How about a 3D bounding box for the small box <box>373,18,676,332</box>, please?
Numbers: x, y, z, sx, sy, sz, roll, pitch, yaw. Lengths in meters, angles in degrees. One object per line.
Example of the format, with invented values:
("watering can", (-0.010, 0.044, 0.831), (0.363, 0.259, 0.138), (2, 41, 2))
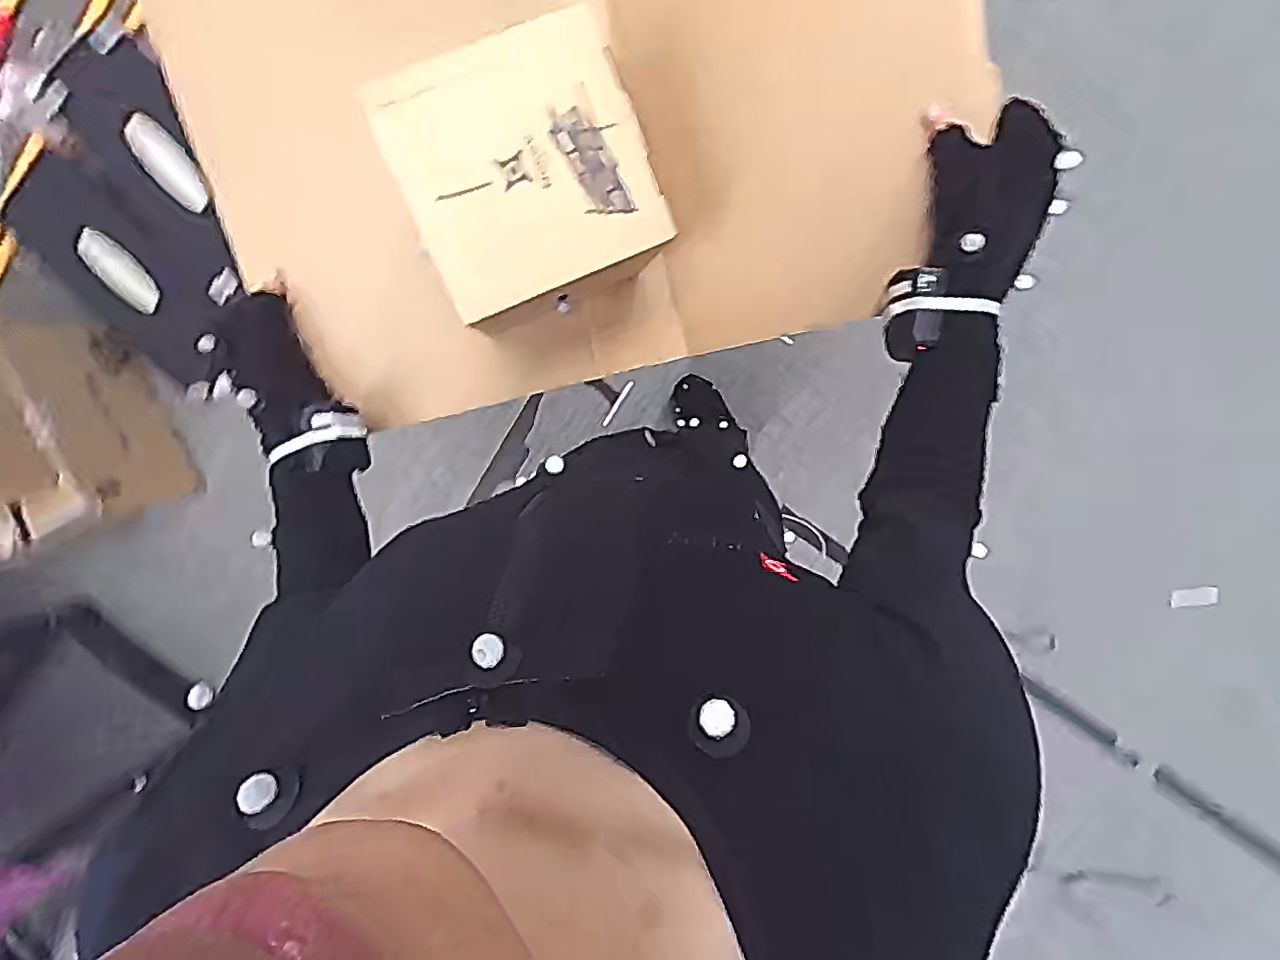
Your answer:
("small box", (-0.091, -0.240, 0.473), (0.179, 0.176, 0.168), (-23, 105, -4))
